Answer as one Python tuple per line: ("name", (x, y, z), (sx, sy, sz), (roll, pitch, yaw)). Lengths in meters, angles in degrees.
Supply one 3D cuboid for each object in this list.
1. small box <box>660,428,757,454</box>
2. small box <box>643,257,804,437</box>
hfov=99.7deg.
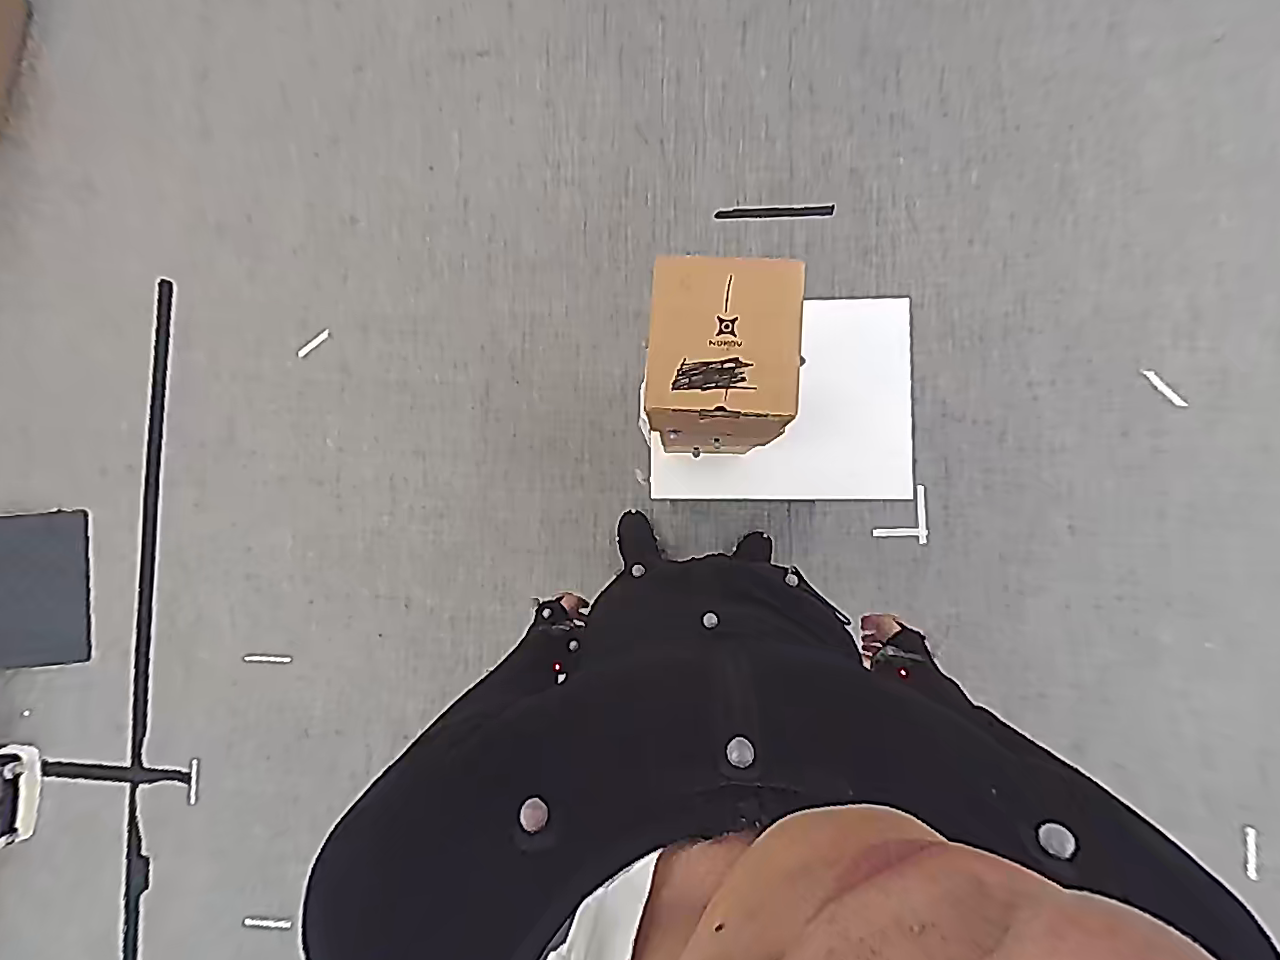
("small box", (0.124, -0.140, 0.994), (0.168, 0.176, 0.179), (1, 87, 3))
("small box", (0.097, -0.151, 0.666), (0.168, 0.176, 0.179), (4, 86, 4))
